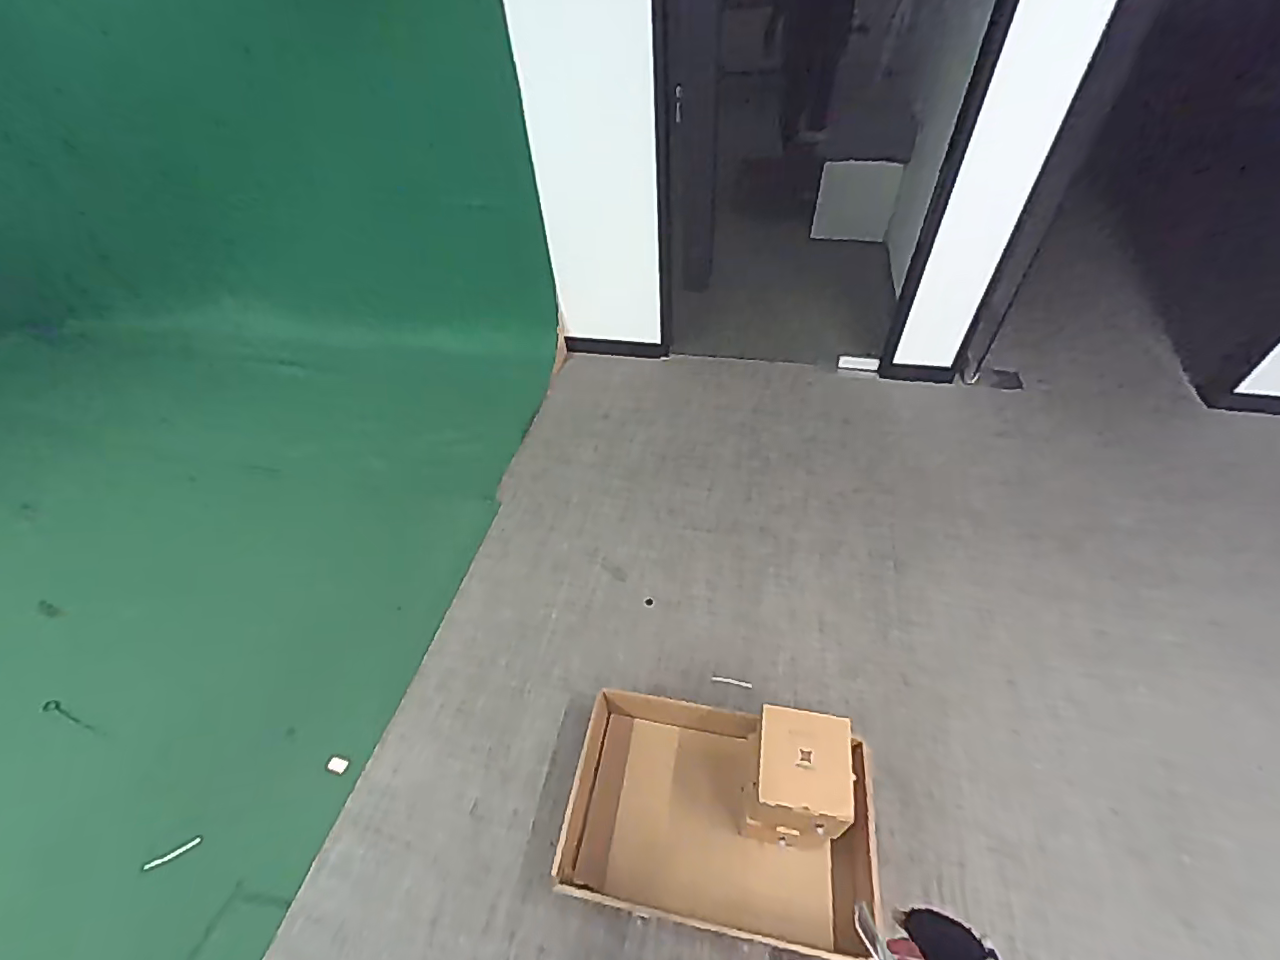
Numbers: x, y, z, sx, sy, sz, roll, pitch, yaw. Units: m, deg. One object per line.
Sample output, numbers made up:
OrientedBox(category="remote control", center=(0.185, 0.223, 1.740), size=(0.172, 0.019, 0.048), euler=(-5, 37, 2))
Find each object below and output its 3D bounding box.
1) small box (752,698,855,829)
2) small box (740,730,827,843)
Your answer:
OrientedBox(category="small box", center=(0.309, 0.549, 1.041), size=(0.168, 0.176, 0.179), euler=(6, 49, 10))
OrientedBox(category="small box", center=(0.306, 0.670, 1.178), size=(0.168, 0.176, 0.179), euler=(2, 48, 9))
